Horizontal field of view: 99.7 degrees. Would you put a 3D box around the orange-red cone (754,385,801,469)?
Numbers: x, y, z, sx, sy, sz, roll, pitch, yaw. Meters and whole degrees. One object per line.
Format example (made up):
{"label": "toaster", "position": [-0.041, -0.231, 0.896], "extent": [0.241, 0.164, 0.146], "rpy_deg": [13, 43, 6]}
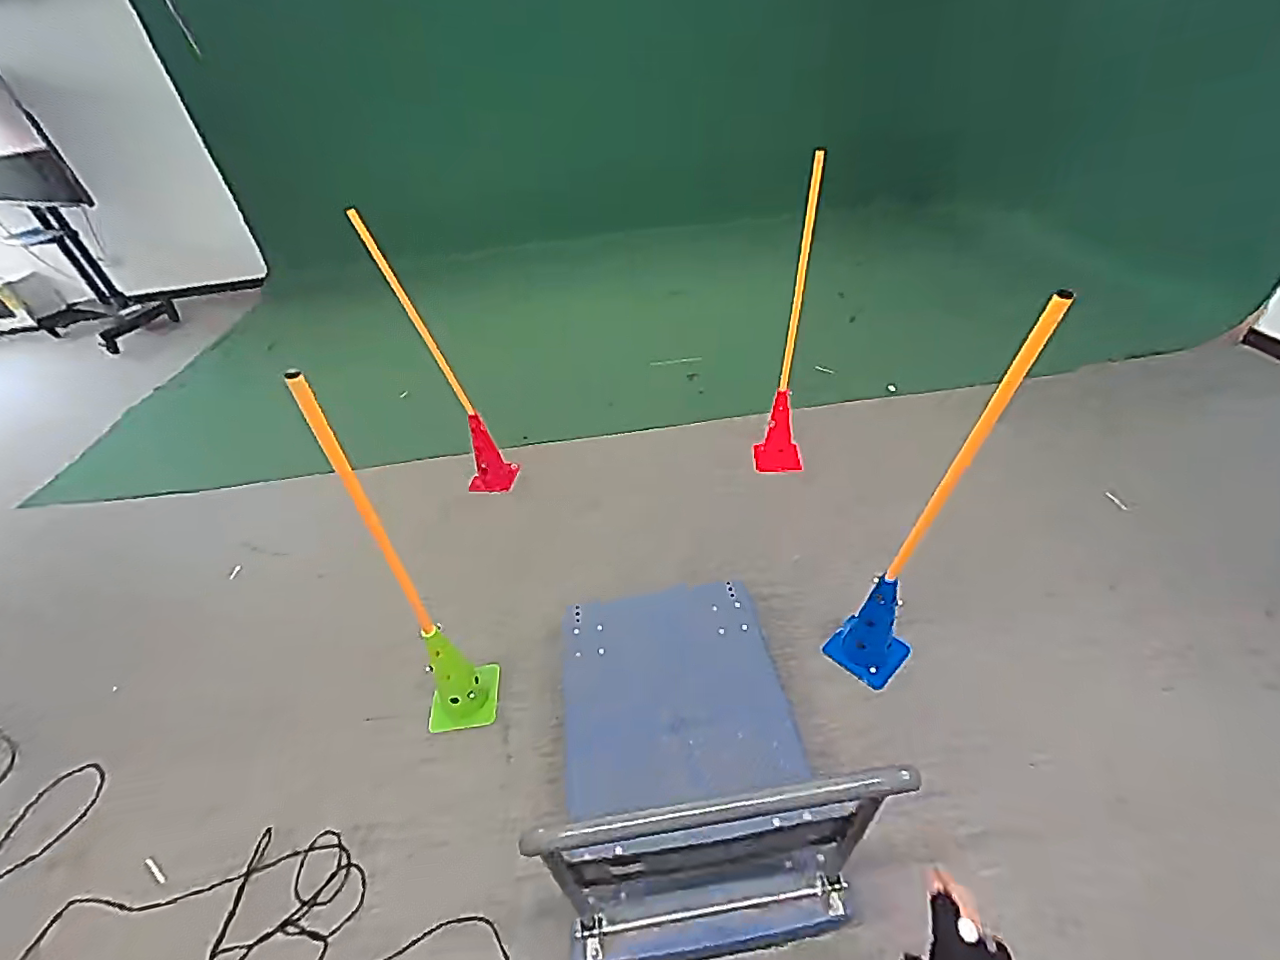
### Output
{"label": "orange-red cone", "position": [0.595, -0.241, 2.307], "extent": [0.198, 0.360, 0.199], "rpy_deg": [-1, 42, 8]}
